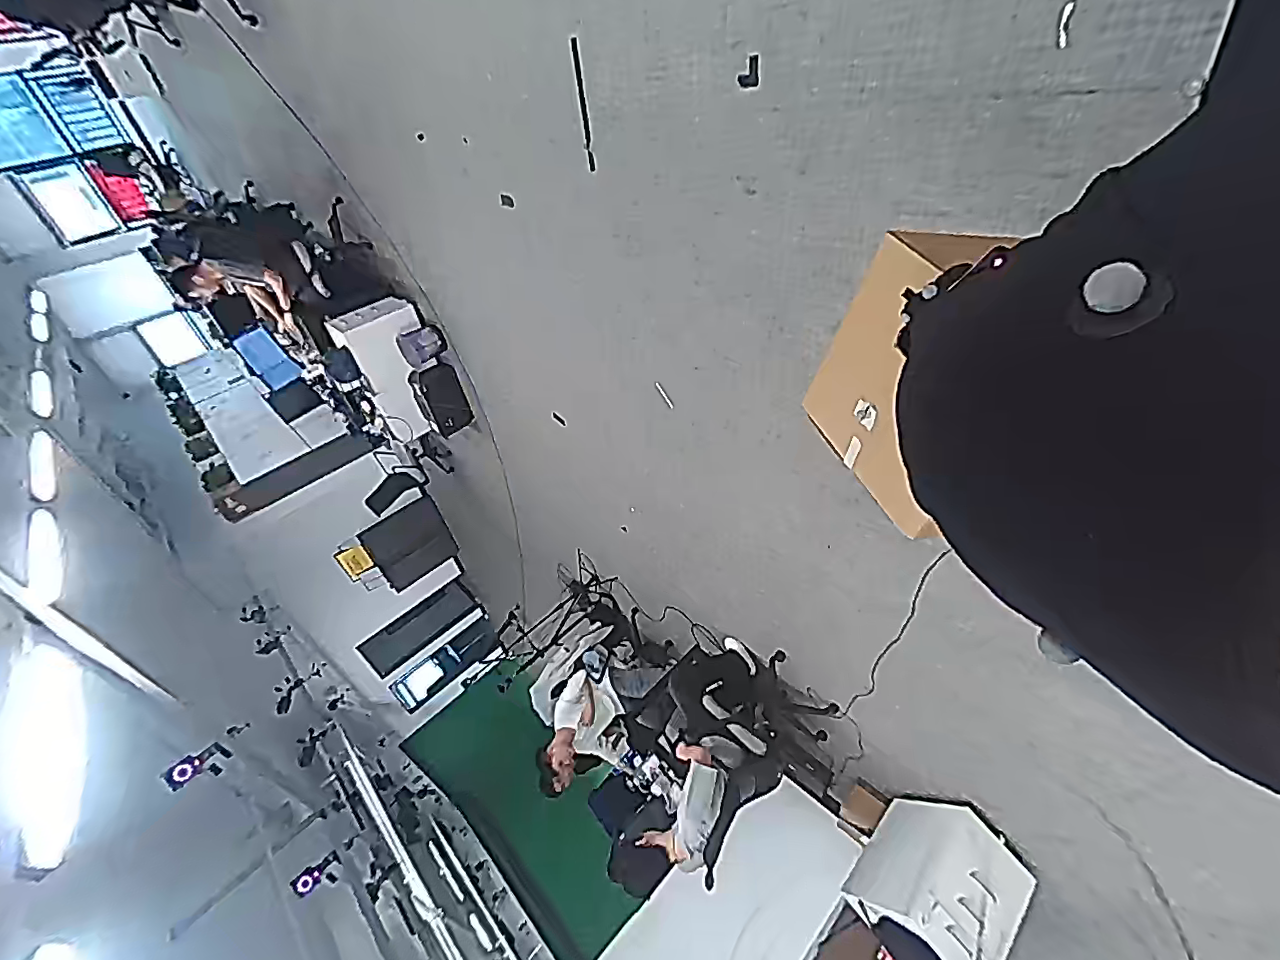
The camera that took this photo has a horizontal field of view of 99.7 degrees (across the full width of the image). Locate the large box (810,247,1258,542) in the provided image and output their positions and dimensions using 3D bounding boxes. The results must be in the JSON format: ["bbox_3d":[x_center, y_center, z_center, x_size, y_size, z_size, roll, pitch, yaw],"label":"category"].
[{"bbox_3d":[0.555,-0.135,0.837,0.320,0.408,0.320,106,151,-45],"label":"large box"}]
